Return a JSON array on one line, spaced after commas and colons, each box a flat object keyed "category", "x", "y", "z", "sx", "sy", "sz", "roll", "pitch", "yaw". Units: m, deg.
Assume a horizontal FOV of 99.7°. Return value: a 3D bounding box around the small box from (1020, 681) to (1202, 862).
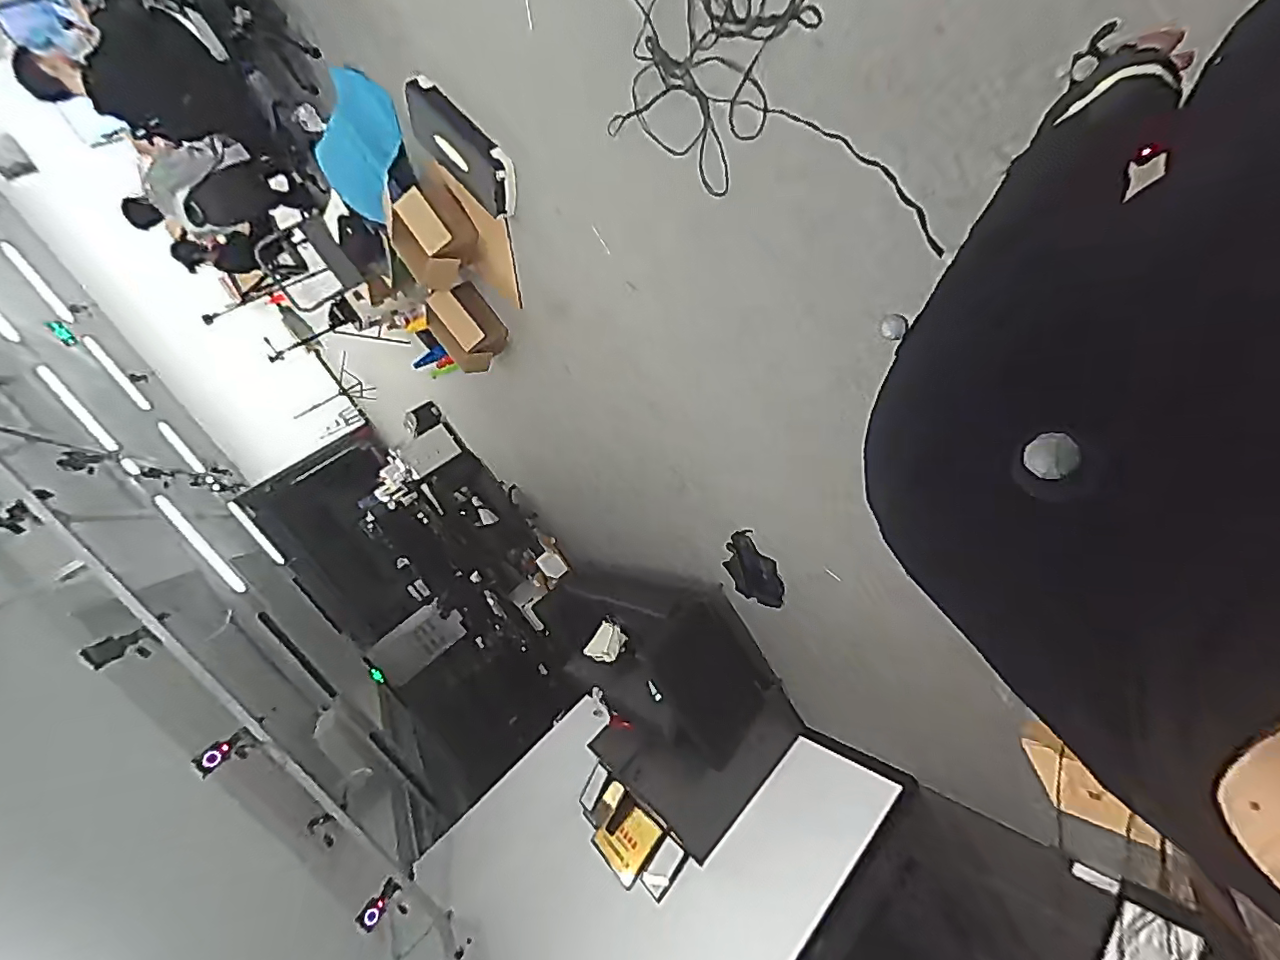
[{"category": "small box", "x": 0.794, "y": 0.474, "z": 0.913, "sx": 0.179, "sy": 0.176, "sz": 0.168, "roll": 57, "pitch": 156, "yaw": -12}]
